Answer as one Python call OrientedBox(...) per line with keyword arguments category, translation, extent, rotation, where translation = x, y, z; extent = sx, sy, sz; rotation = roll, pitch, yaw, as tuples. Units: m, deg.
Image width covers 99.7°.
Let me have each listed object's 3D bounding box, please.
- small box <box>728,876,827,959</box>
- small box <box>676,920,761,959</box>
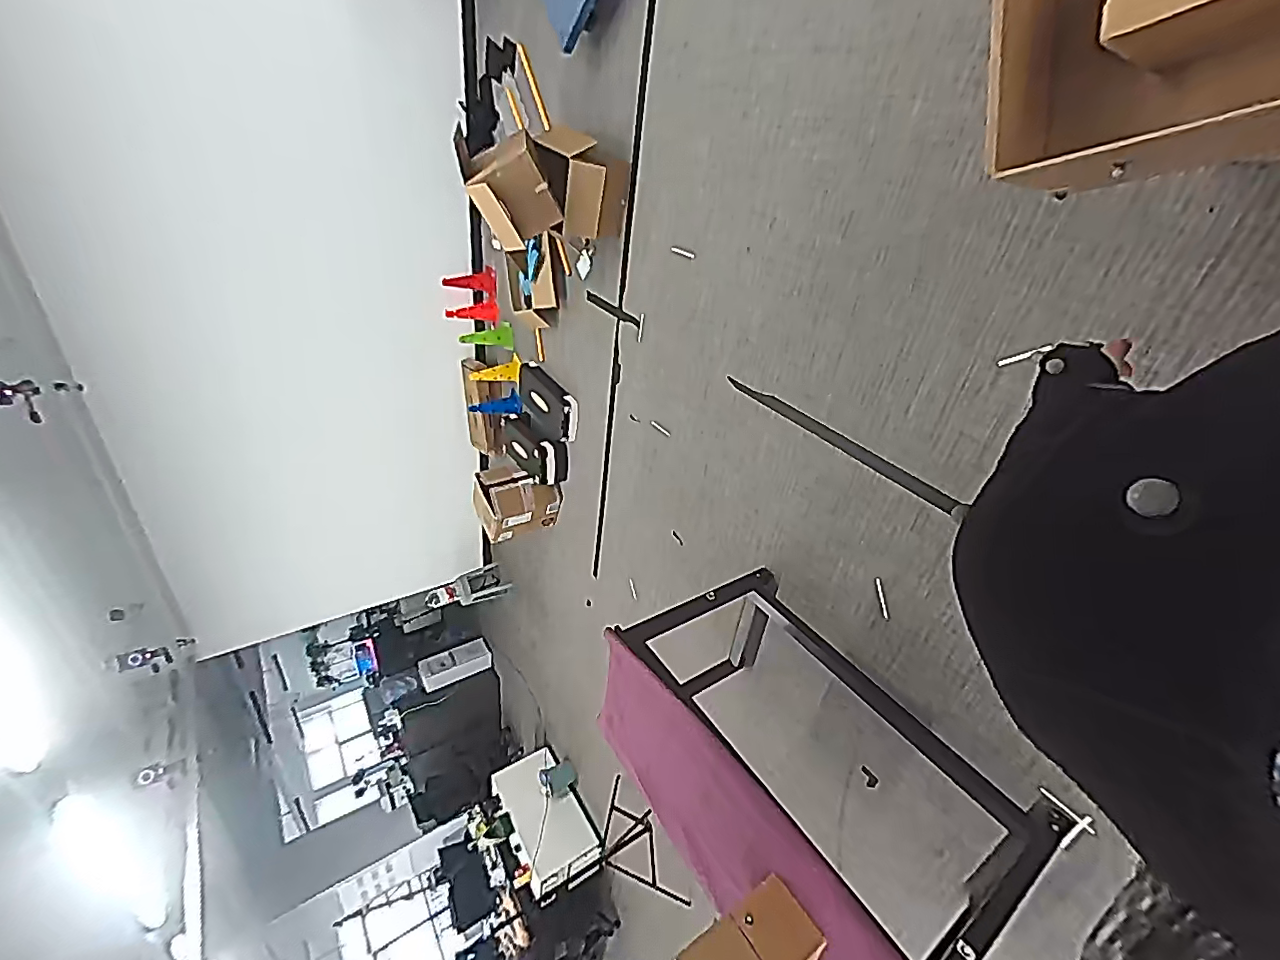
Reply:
OrientedBox(category="small box", translation=(0.327, 1.133, 1.326), extent=(0.179, 0.176, 0.168), rotation=(39, 133, 44))
OrientedBox(category="small box", translation=(0.191, 1.164, 1.239), extent=(0.179, 0.176, 0.168), rotation=(38, 133, 44))
